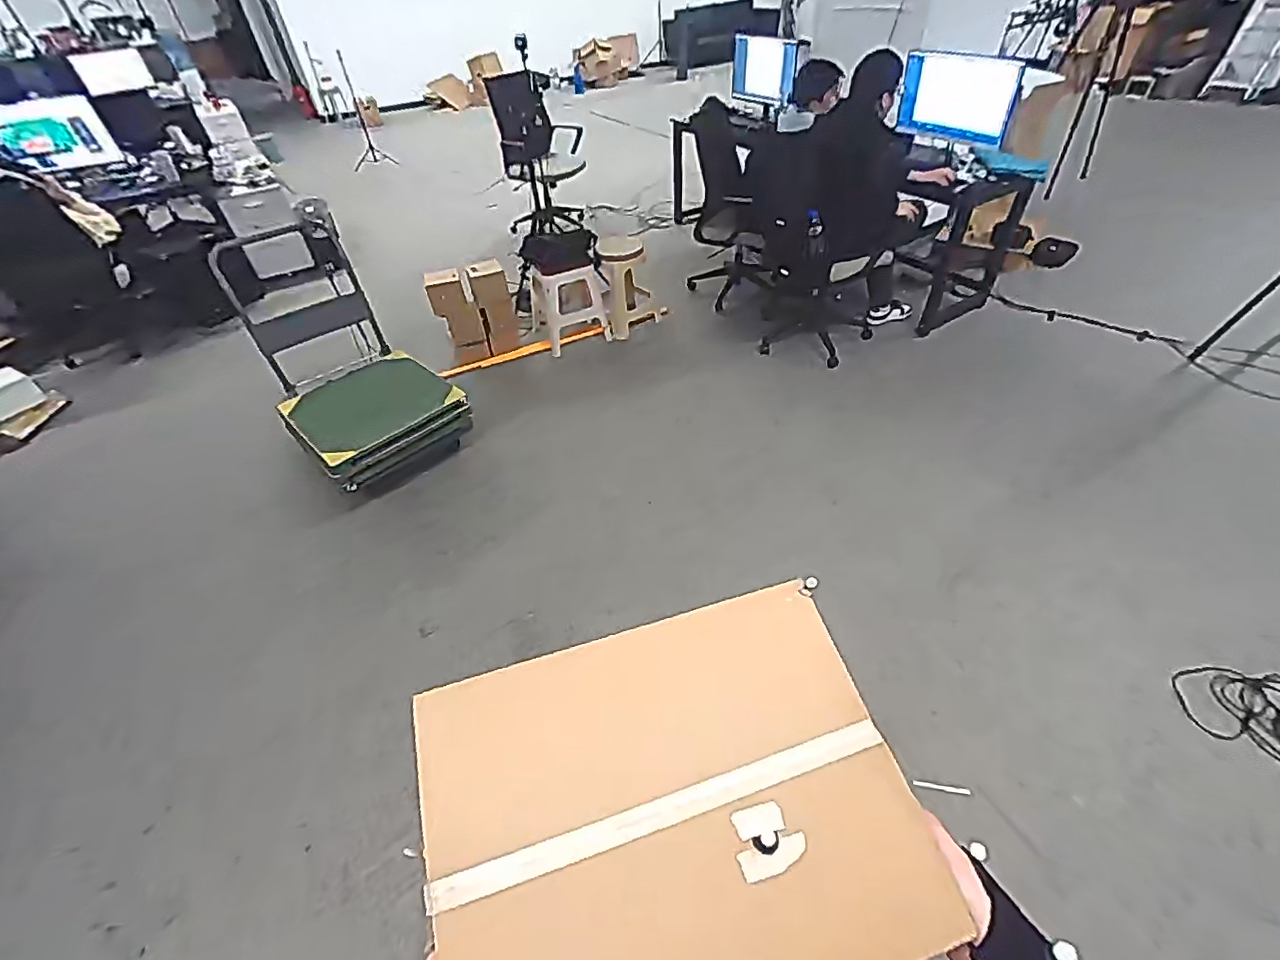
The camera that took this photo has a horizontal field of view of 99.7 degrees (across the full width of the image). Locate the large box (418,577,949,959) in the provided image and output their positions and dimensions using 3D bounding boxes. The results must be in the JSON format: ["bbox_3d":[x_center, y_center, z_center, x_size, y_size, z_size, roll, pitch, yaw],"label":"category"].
[{"bbox_3d":[0.016,0.358,0.602,0.408,0.320,0.320,-14,60,-11],"label":"large box"}]
